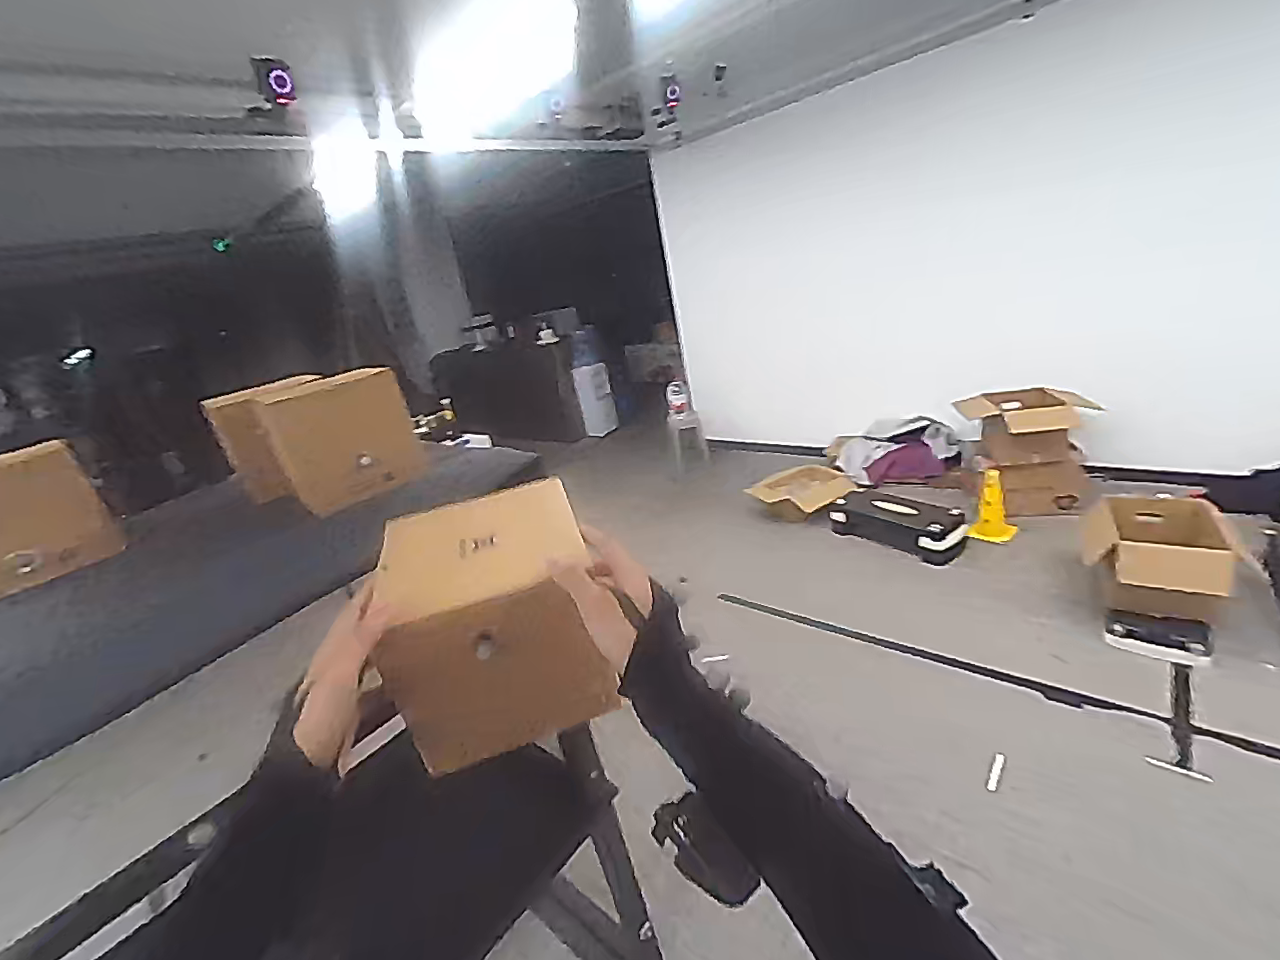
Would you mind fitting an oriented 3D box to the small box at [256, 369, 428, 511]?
[{"bbox_3d":[-0.458,-0.067,0.836,0.168,0.176,0.179,-29,27,-34],"label":"small box"}]

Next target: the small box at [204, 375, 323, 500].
[{"bbox_3d":[-0.631,-0.079,0.959,0.168,0.176,0.179,-29,28,-35],"label":"small box"}]

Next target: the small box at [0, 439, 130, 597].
[{"bbox_3d":[-0.883,0.051,0.775,0.179,0.176,0.168,9,30,42],"label":"small box"}]

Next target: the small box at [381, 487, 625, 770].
[{"bbox_3d":[-0.119,0.134,0.517,0.179,0.176,0.168,-15,29,-10],"label":"small box"}]
